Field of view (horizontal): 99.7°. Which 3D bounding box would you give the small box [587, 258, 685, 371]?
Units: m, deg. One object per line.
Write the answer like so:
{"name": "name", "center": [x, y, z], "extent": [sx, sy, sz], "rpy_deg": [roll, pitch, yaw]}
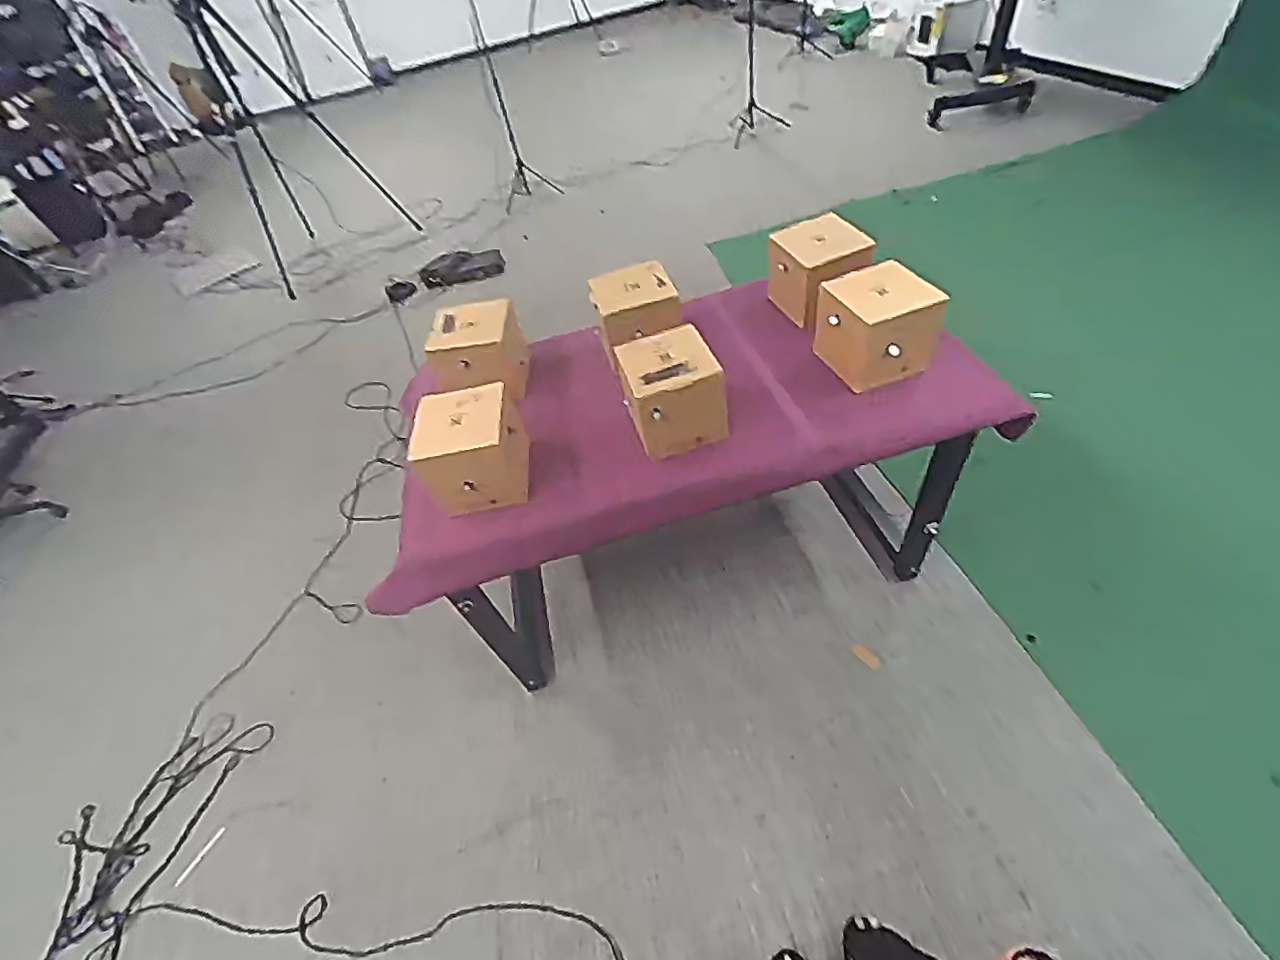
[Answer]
{"name": "small box", "center": [-0.006, -0.379, 1.253], "extent": [0.179, 0.176, 0.168], "rpy_deg": [-17, 51, -2]}

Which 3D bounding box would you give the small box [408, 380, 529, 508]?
{"name": "small box", "center": [-0.319, -0.062, 1.044], "extent": [0.168, 0.176, 0.179], "rpy_deg": [-10, 49, 2]}

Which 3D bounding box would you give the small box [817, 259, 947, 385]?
{"name": "small box", "center": [0.478, -0.312, 1.097], "extent": [0.168, 0.176, 0.179], "rpy_deg": [-19, 47, -4]}

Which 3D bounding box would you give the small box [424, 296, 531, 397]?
{"name": "small box", "center": [-0.368, -0.298, 1.255], "extent": [0.179, 0.176, 0.168], "rpy_deg": [-6, 50, 4]}

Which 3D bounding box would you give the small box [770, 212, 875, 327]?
{"name": "small box", "center": [0.413, -0.488, 1.261], "extent": [0.168, 0.176, 0.179], "rpy_deg": [-21, 51, -4]}
